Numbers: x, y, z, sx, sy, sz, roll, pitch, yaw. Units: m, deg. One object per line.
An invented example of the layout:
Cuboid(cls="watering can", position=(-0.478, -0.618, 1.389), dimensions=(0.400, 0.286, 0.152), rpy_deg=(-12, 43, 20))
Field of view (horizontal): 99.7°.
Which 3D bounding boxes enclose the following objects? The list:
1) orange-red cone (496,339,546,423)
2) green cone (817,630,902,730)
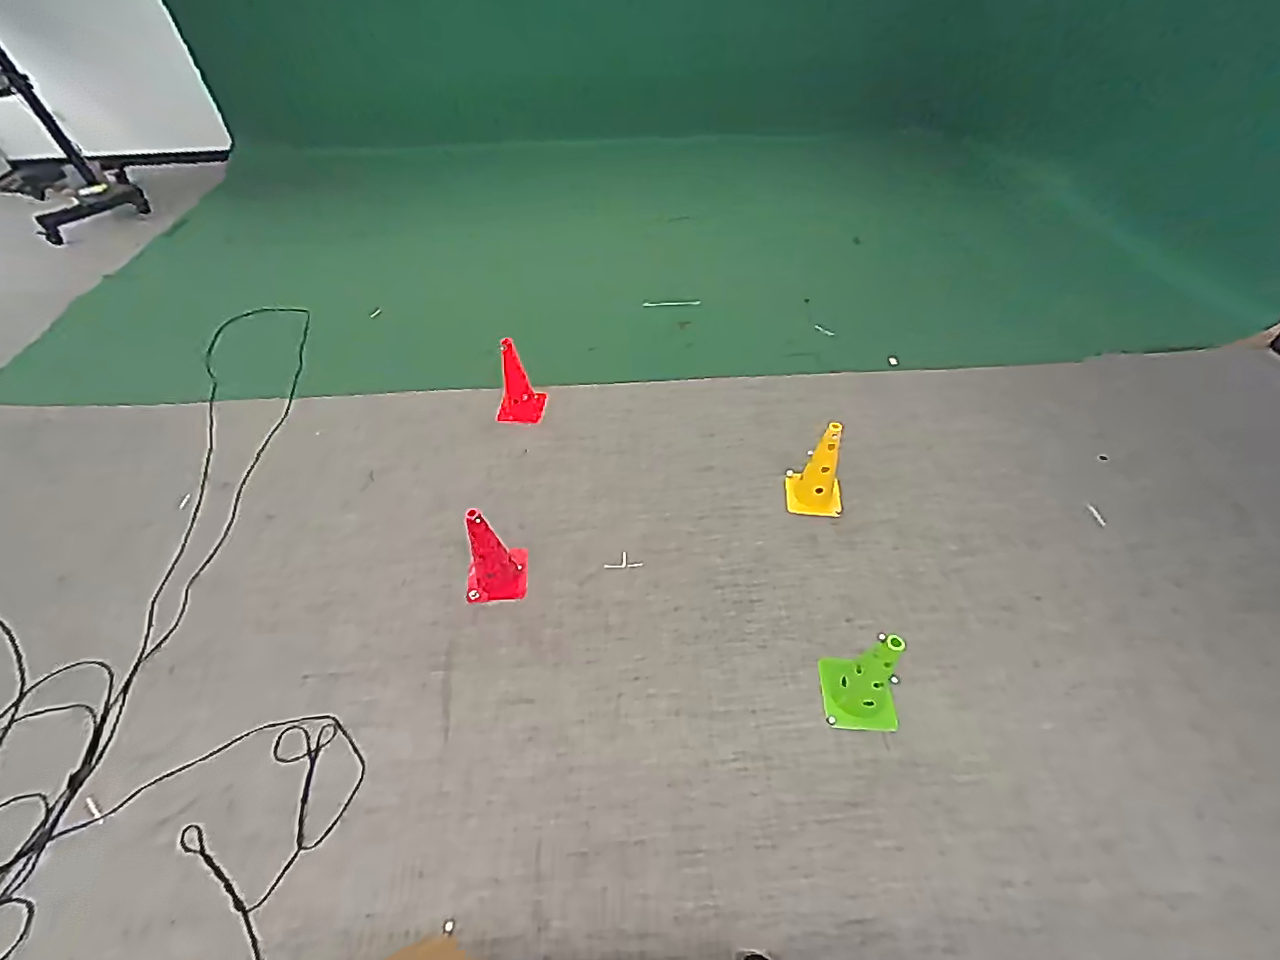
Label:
Cuboid(cls="orange-red cone", position=(-0.538, -0.437, 2.298), dimensions=(0.199, 0.360, 0.198), rpy_deg=(2, 48, 5))
Cuboid(cls="green cone", position=(0.629, 0.509, 1.454), dimensions=(0.200, 0.368, 0.202), rpy_deg=(2, 48, 3))
